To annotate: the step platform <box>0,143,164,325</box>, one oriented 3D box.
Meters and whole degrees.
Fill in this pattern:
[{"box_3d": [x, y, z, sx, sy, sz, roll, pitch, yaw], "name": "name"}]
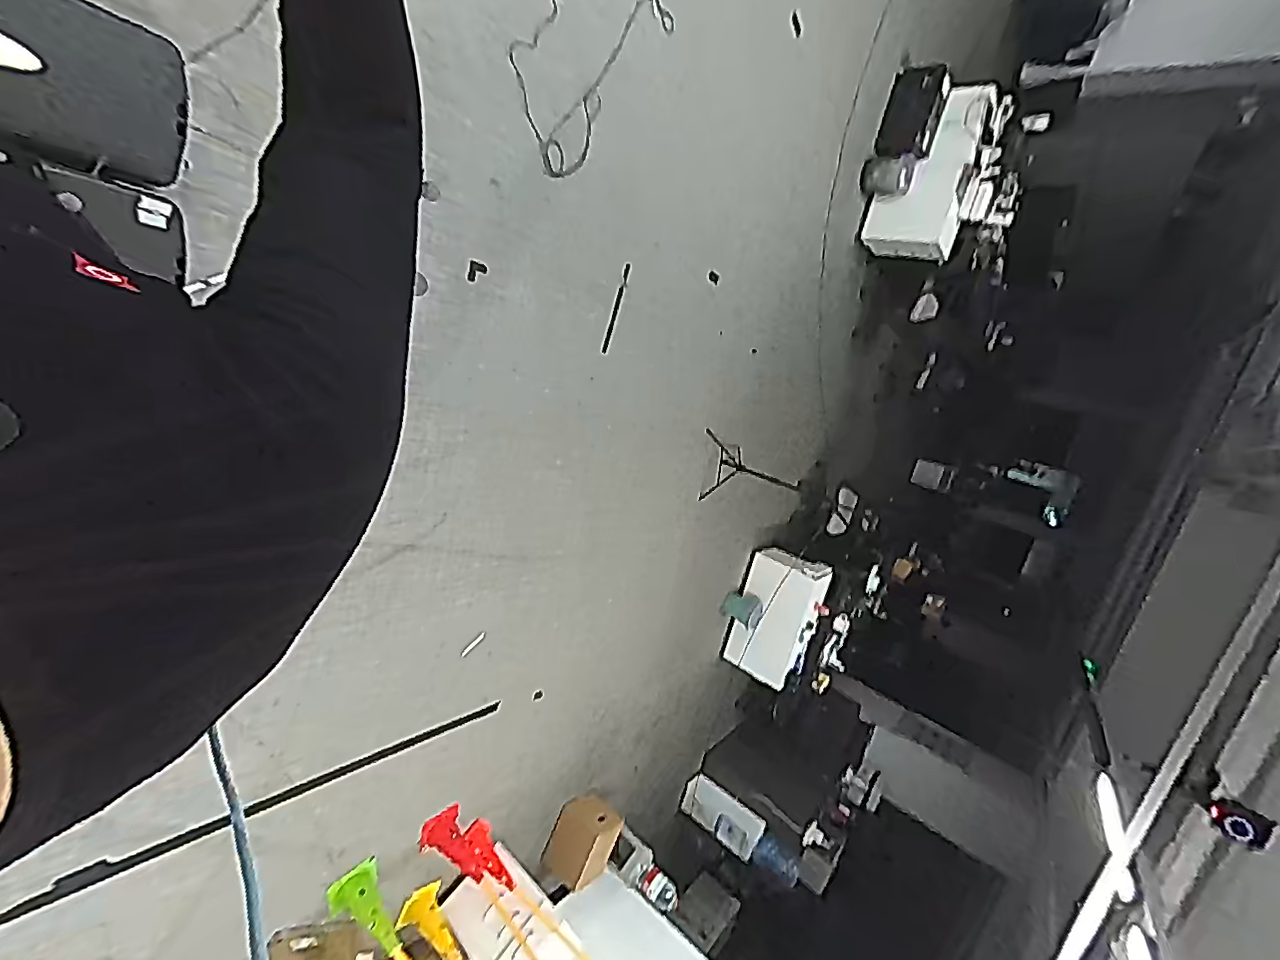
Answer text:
[{"box_3d": [-1.244, -0.460, 0.898, 0.684, 0.204, 0.286, -3, 112, -51], "name": "step platform"}]
